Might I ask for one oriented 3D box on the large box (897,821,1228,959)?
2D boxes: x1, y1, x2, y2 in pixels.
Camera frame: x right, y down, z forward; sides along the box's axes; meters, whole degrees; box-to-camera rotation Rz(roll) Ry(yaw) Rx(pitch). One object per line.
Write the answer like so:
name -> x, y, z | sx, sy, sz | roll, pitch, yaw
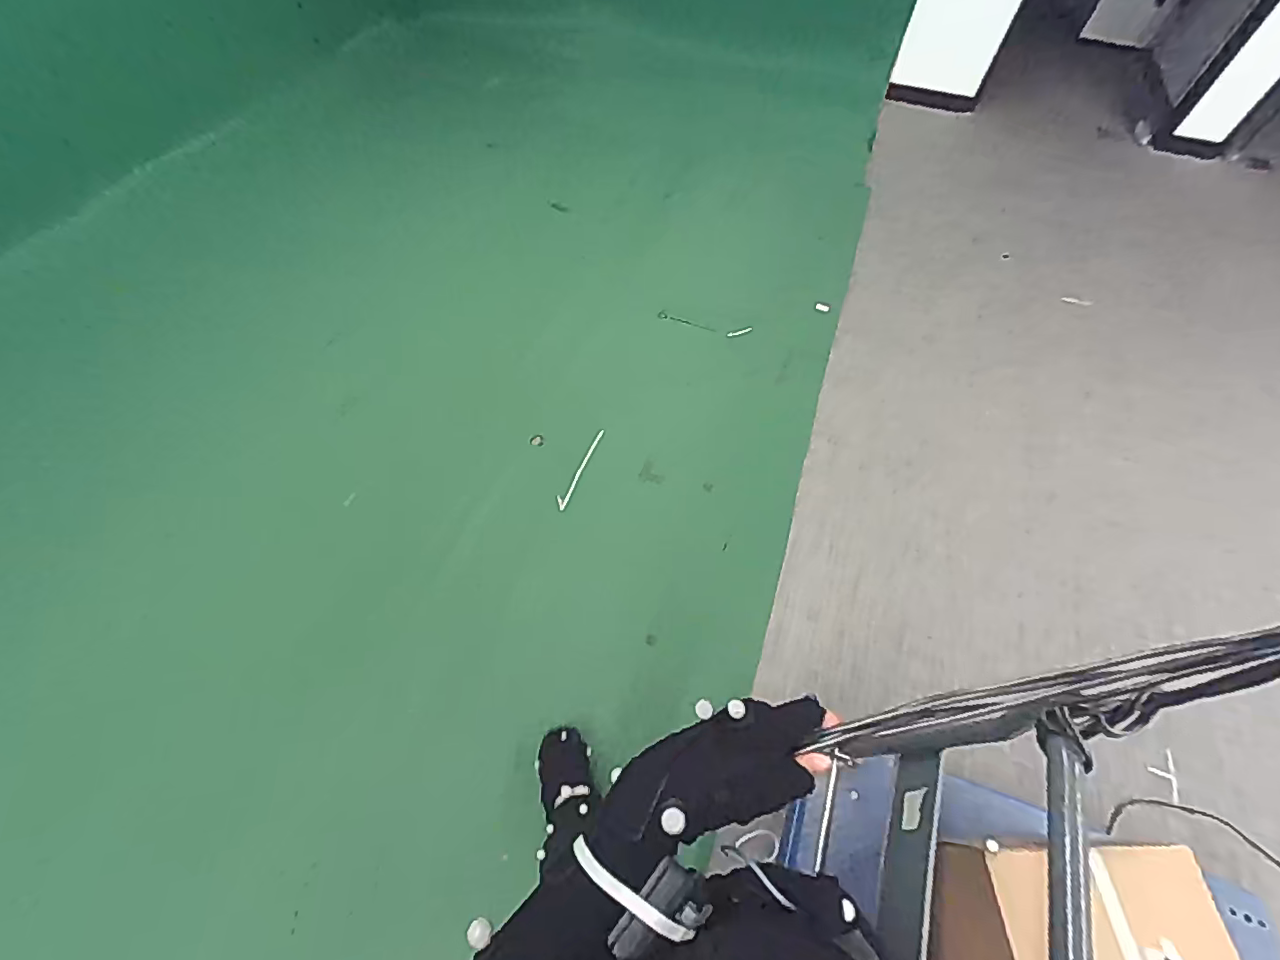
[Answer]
large box -> 0.661, 0.779, 0.848 | 0.320, 0.320, 0.408 | 0, 58, -2
